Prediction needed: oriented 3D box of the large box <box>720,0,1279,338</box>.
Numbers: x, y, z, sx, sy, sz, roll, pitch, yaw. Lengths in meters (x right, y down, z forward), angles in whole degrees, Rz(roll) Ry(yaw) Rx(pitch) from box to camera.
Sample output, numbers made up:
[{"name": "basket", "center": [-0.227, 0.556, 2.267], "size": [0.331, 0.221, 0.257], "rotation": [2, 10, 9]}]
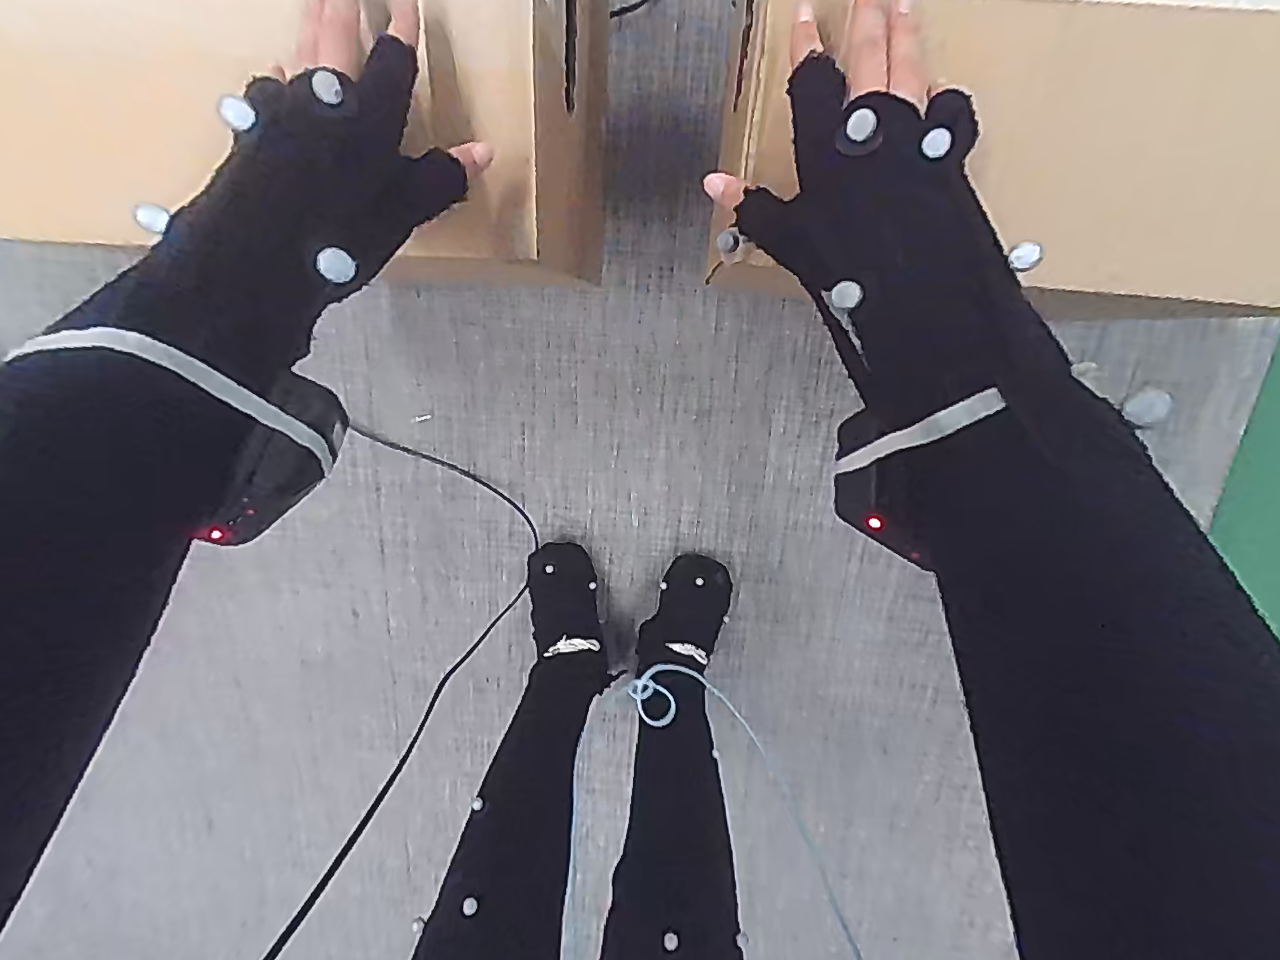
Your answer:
[{"name": "large box", "center": [0.296, -0.303, 0.475], "size": [0.408, 0.320, 0.320], "rotation": [6, 106, 3]}]
